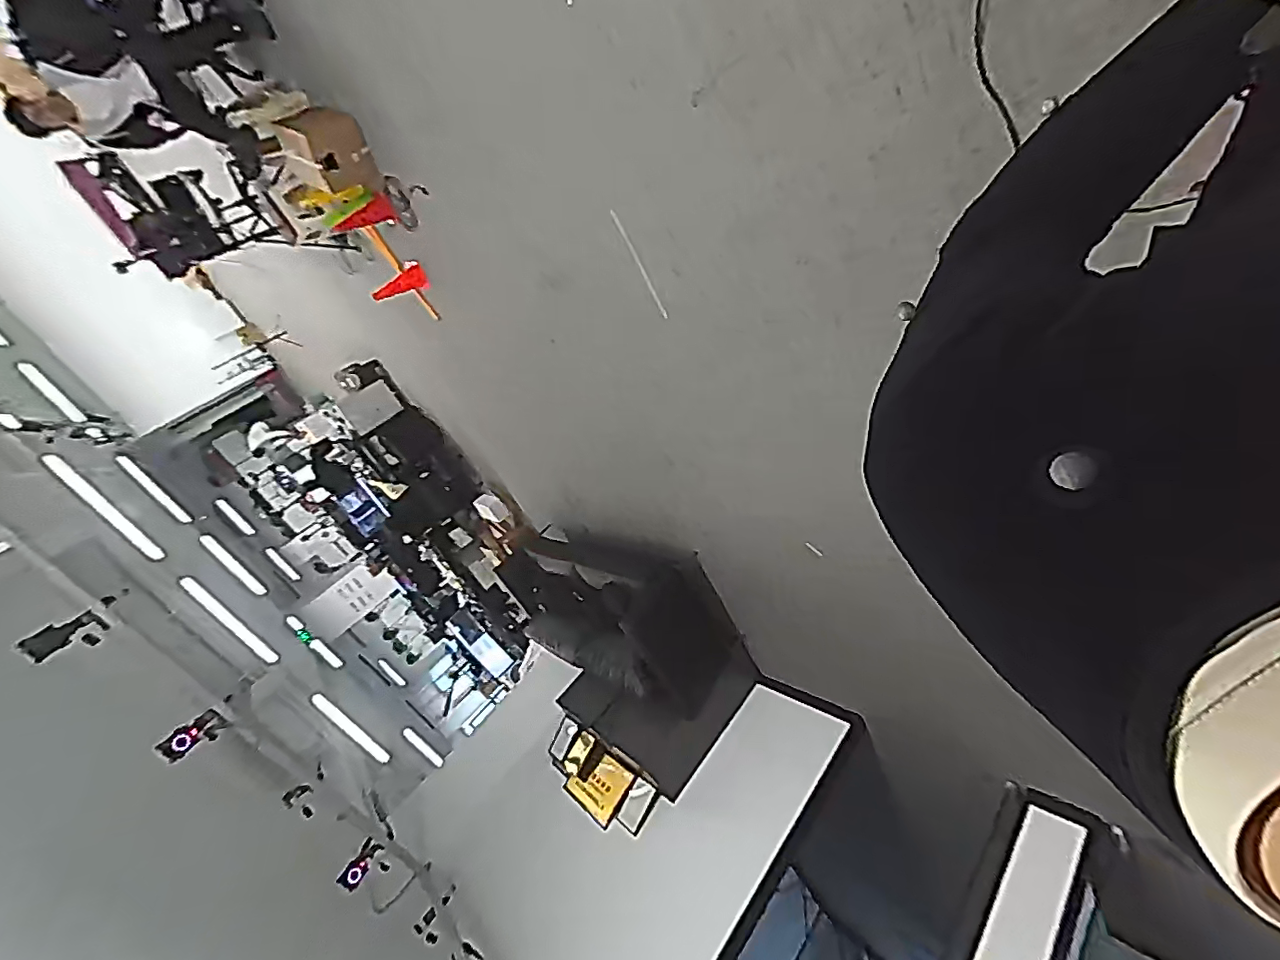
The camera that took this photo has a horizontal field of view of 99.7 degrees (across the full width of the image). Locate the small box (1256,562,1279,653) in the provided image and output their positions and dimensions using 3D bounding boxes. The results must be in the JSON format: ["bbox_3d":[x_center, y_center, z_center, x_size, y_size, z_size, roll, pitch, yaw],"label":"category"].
[{"bbox_3d":[1.646,0.323,1.312,0.179,0.176,0.168,11,135,49],"label":"small box"}]
